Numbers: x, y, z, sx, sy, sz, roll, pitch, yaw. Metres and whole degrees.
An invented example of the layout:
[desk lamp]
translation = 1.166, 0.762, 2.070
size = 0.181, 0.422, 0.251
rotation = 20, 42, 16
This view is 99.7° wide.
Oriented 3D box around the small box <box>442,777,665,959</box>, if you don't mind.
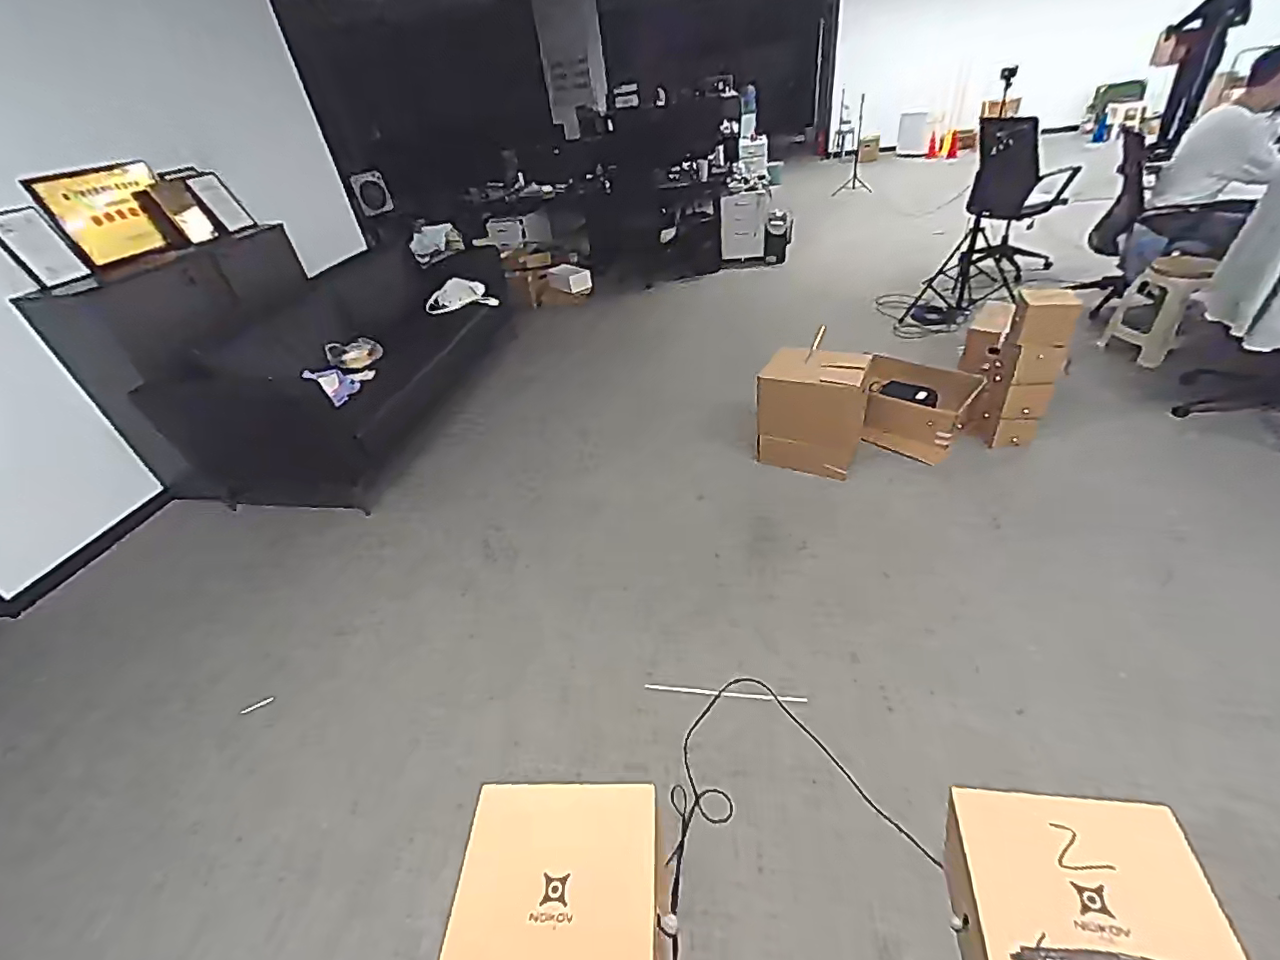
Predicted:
[small box]
translation = -0.065, 0.401, 0.497
size = 0.168, 0.176, 0.179
rotation = -3, 38, 4
